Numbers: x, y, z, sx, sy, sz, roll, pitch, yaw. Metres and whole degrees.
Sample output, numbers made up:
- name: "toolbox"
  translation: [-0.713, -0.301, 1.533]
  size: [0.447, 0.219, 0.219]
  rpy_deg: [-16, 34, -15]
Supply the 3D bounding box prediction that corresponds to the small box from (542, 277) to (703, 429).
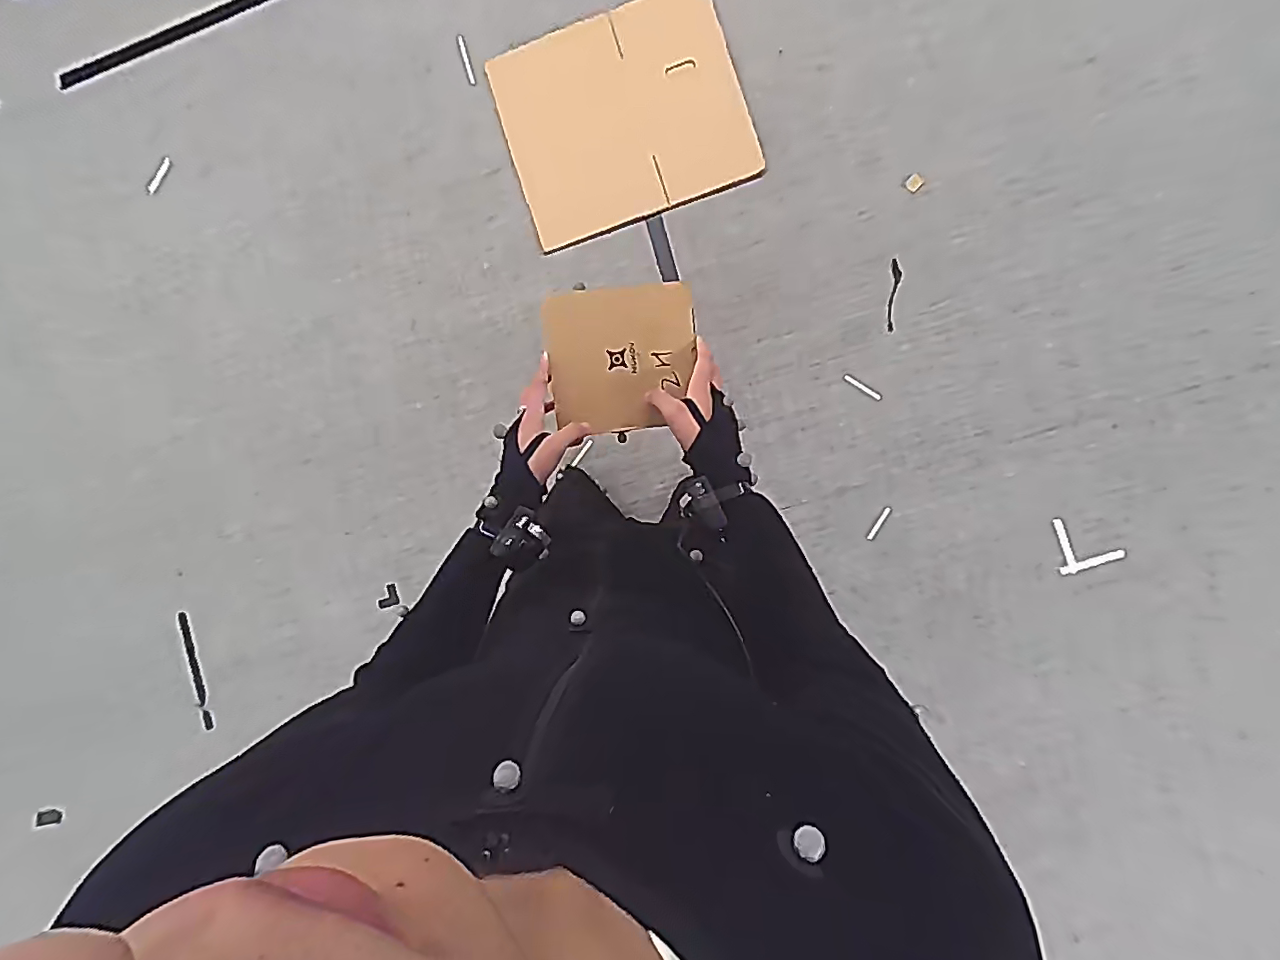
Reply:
- name: "small box"
  translation: [-0.024, -0.154, 0.705]
  size: [0.179, 0.176, 0.168]
  rpy_deg: [-6, 97, -4]
